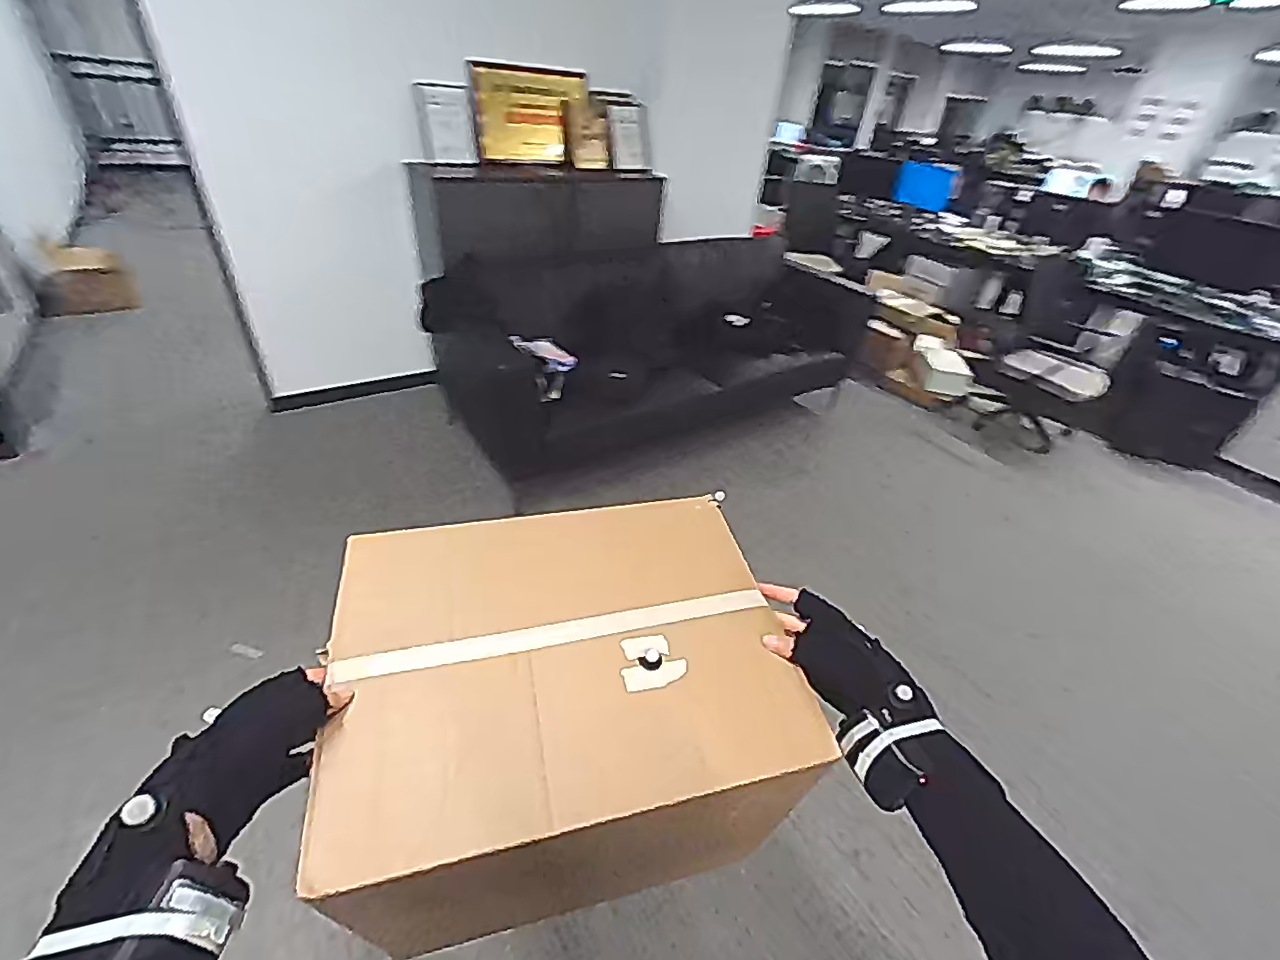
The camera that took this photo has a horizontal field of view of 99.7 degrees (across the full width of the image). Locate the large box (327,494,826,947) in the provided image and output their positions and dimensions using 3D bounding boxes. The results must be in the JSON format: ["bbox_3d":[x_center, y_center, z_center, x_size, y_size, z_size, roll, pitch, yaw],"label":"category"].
[{"bbox_3d":[-0.084,0.251,0.615,0.408,0.320,0.320,-6,45,-17],"label":"large box"}]
